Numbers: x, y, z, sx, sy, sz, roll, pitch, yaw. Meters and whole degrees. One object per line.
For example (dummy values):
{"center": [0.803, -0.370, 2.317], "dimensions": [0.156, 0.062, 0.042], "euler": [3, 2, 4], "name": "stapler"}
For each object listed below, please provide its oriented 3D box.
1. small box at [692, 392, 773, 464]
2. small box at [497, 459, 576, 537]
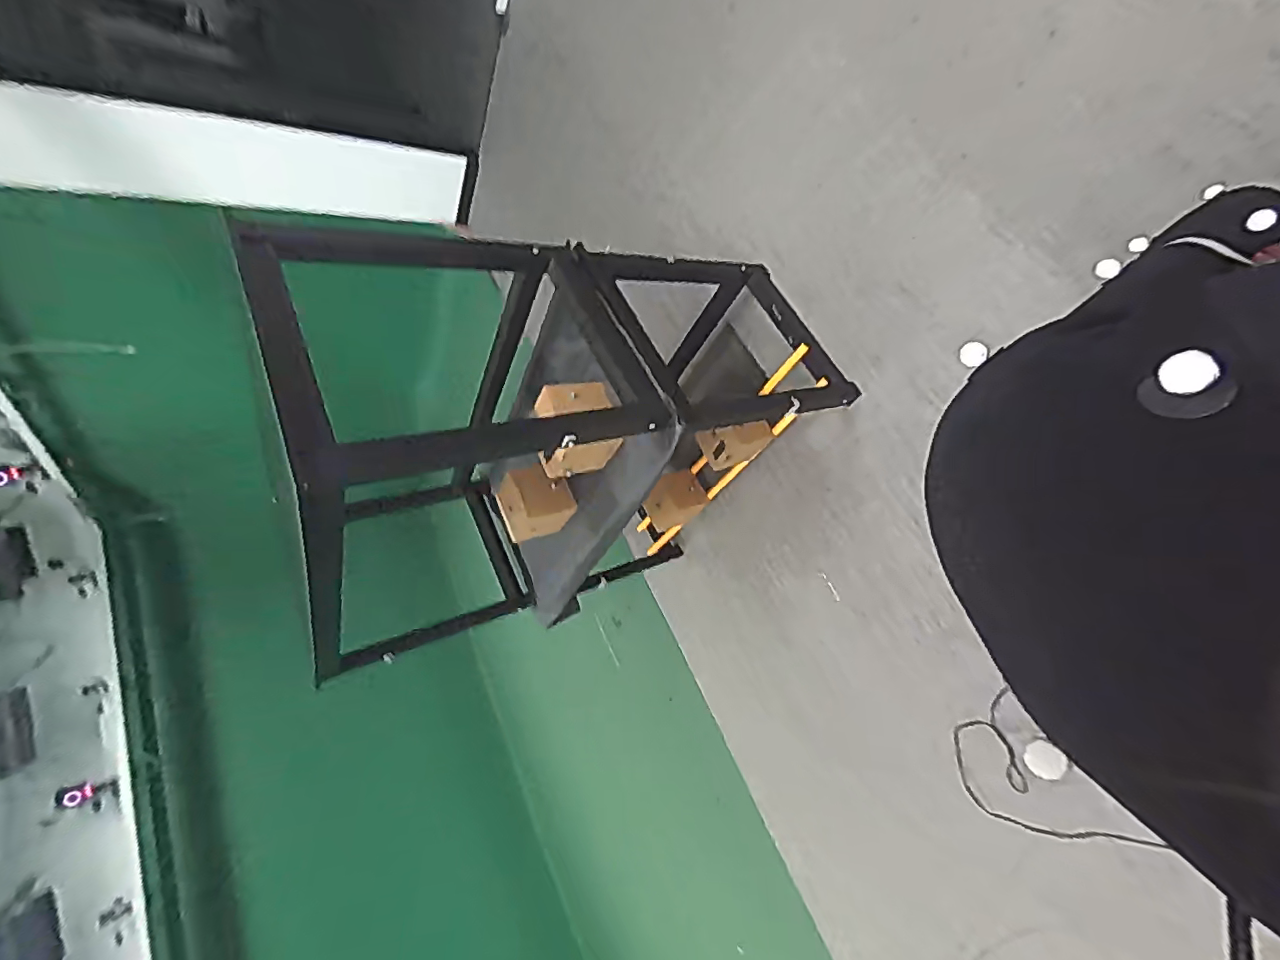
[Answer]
{"center": [0.313, -0.178, 1.810], "dimensions": [0.168, 0.176, 0.179], "euler": [-47, 64, 49], "name": "small box"}
{"center": [-0.320, 0.055, 1.676], "dimensions": [0.179, 0.176, 0.168], "euler": [-48, 63, 49], "name": "small box"}
